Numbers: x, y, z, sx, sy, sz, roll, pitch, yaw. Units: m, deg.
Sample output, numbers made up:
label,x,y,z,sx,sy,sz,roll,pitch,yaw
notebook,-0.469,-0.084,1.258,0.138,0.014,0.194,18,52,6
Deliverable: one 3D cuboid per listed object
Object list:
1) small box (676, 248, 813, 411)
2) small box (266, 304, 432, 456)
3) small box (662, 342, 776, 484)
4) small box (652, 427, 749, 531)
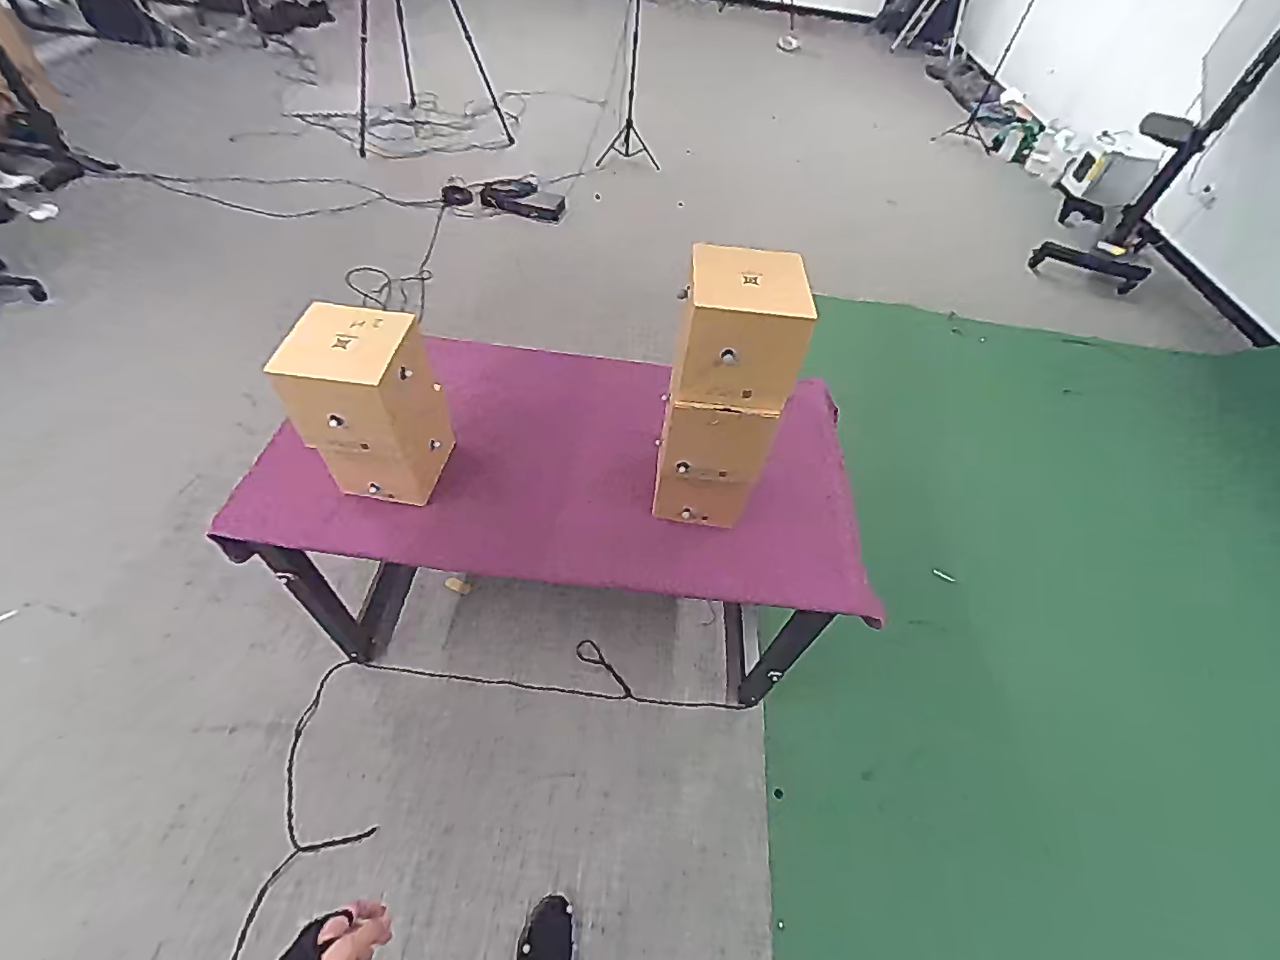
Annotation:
label,x,y,z,sx,sy,sz,roll,pitch,yaw
small box,0.146,-0.223,0.818,0.168,0.176,0.179,5,49,-1
small box,-0.461,-0.161,0.895,0.168,0.176,0.179,7,52,-2
small box,0.130,-0.112,0.936,0.168,0.176,0.179,7,49,0
small box,0.118,-0.024,1.075,0.168,0.176,0.179,8,50,1
